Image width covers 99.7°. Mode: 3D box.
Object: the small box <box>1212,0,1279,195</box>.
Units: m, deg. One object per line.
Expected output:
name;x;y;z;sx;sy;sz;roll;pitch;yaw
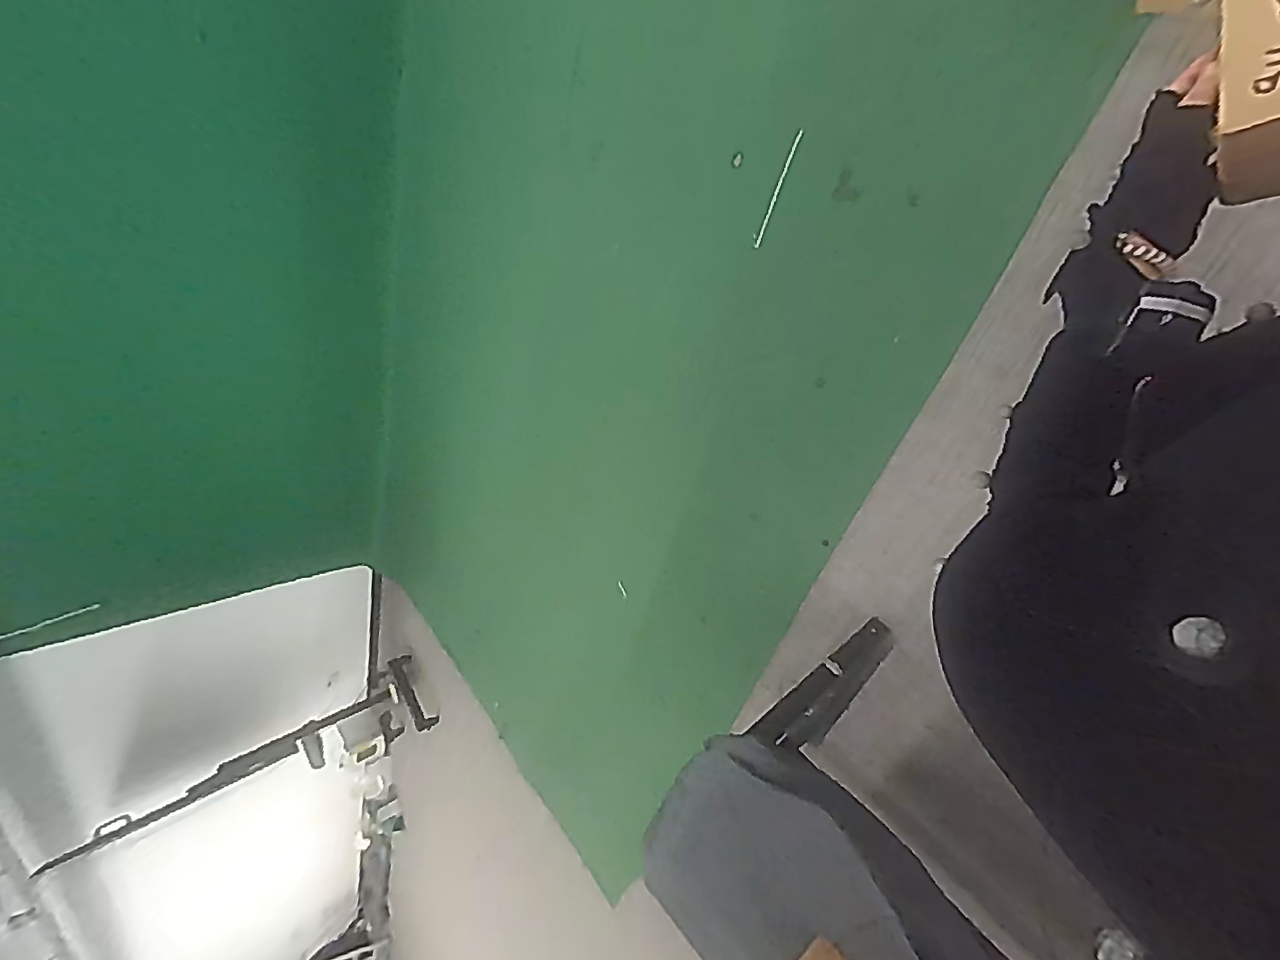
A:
small box;0.478;-0.304;0.326;0.179;0.176;0.168;3;96;47
